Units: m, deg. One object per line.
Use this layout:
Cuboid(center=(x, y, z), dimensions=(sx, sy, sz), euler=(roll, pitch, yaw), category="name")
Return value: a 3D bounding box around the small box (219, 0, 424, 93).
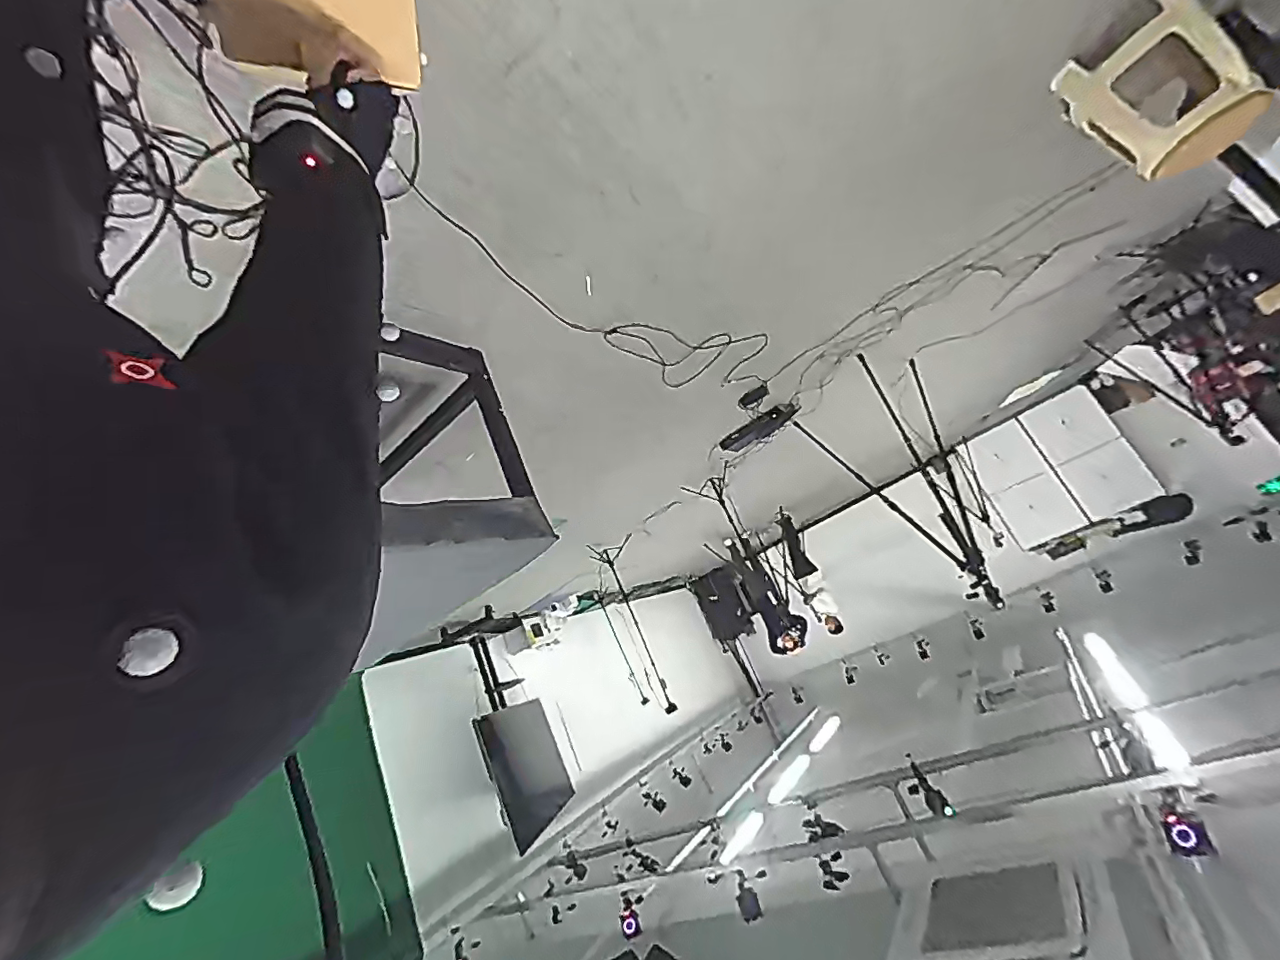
Cuboid(center=(-0.320, -0.498, 0.531), dimensions=(0.168, 0.179, 0.176), euler=(-11, 125, -28), category="small box")
